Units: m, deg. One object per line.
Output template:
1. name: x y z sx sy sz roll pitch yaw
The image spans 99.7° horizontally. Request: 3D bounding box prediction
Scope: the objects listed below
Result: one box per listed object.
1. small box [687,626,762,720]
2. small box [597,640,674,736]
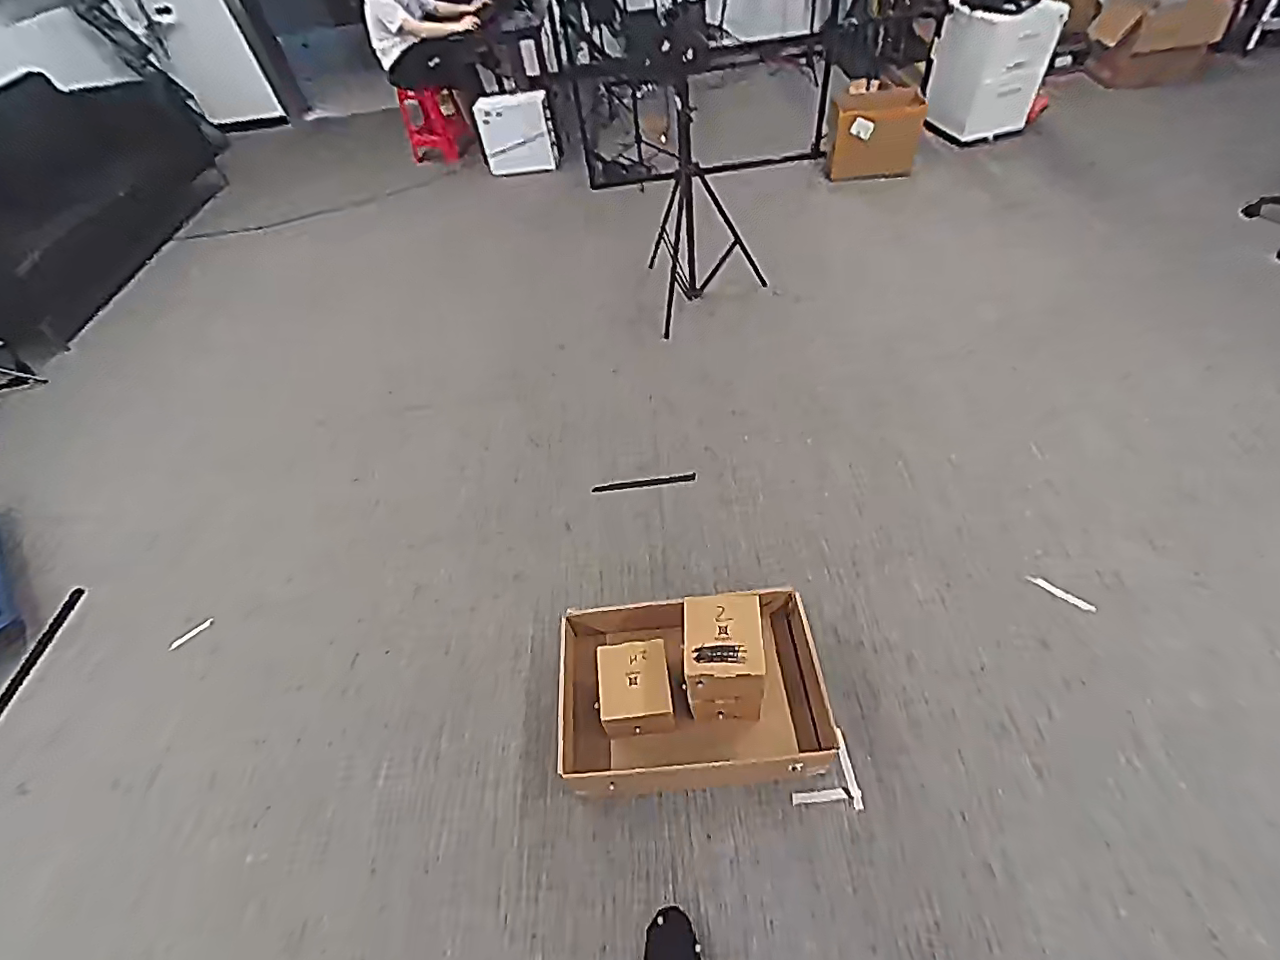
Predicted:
1. small box: 0.204 0.476 1.329 0.168 0.176 0.179 -5 52 7
2. small box: -0.010 0.514 1.324 0.168 0.176 0.179 -7 51 -1
